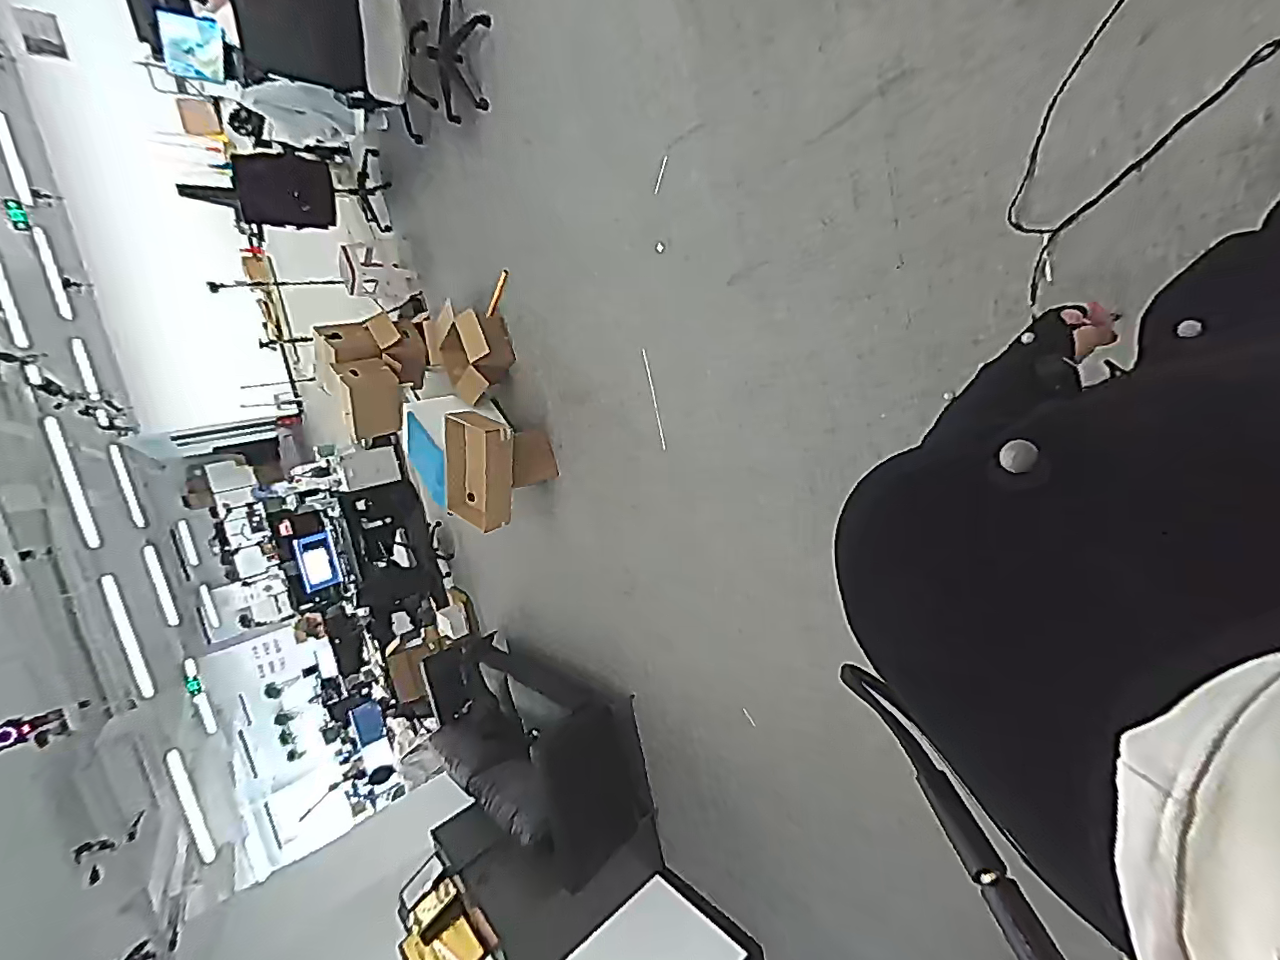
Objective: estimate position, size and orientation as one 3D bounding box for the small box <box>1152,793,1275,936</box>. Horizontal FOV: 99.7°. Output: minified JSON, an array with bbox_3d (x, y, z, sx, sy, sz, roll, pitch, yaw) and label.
[{"bbox_3d":[1.327,0.875,1.250,0.168,0.176,0.179,-11,95,53],"label":"small box"}]

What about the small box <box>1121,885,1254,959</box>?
[{"bbox_3d":[1.076,0.957,1.060,0.168,0.176,0.179,-5,101,52],"label":"small box"}]
